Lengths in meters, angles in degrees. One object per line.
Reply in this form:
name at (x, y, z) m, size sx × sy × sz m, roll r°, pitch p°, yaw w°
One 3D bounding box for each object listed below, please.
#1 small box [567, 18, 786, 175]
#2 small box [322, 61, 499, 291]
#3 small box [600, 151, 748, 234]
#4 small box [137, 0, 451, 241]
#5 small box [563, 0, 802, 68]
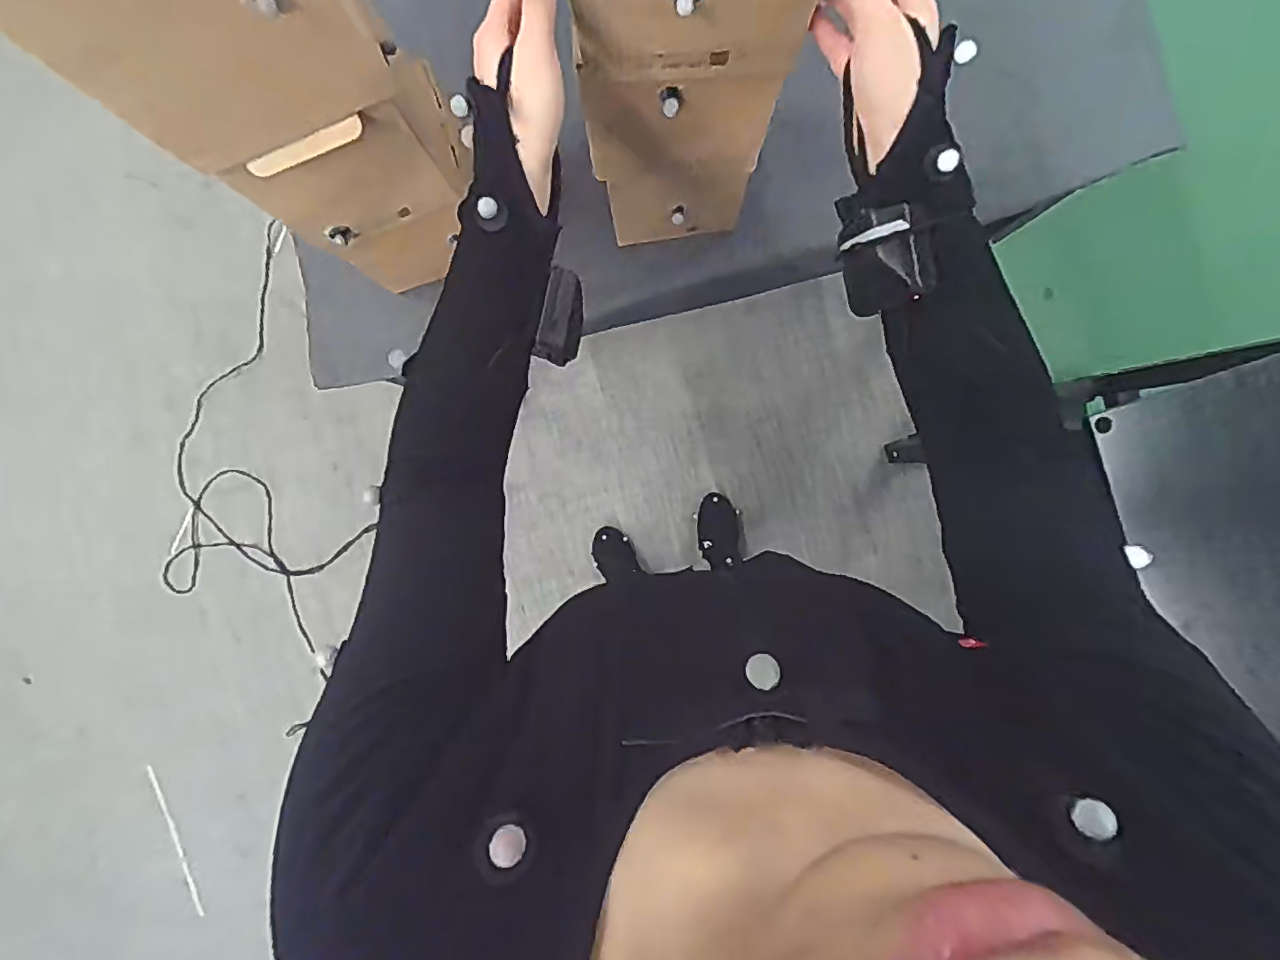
small box at (0.030, -0.413, 0.505) m, size 0.179 × 0.176 × 0.168 m, roll -2°, pitch 91°, yaw 4°
small box at (-0.294, -0.366, 0.686) m, size 0.179 × 0.176 × 0.168 m, roll -18°, pitch 89°, yaw 3°
small box at (0.033, -0.424, 0.668) m, size 0.168 × 0.176 × 0.179 m, roll -8°, pitch 91°, yaw 3°
small box at (-0.311, -0.360, 0.522) m, size 0.168 × 0.176 × 0.179 m, roll -22°, pitch 88°, yaw 2°
small box at (0.027, -0.398, 0.340) m, size 0.168 × 0.176 × 0.179 m, roll -1°, pitch 91°, yaw 3°
